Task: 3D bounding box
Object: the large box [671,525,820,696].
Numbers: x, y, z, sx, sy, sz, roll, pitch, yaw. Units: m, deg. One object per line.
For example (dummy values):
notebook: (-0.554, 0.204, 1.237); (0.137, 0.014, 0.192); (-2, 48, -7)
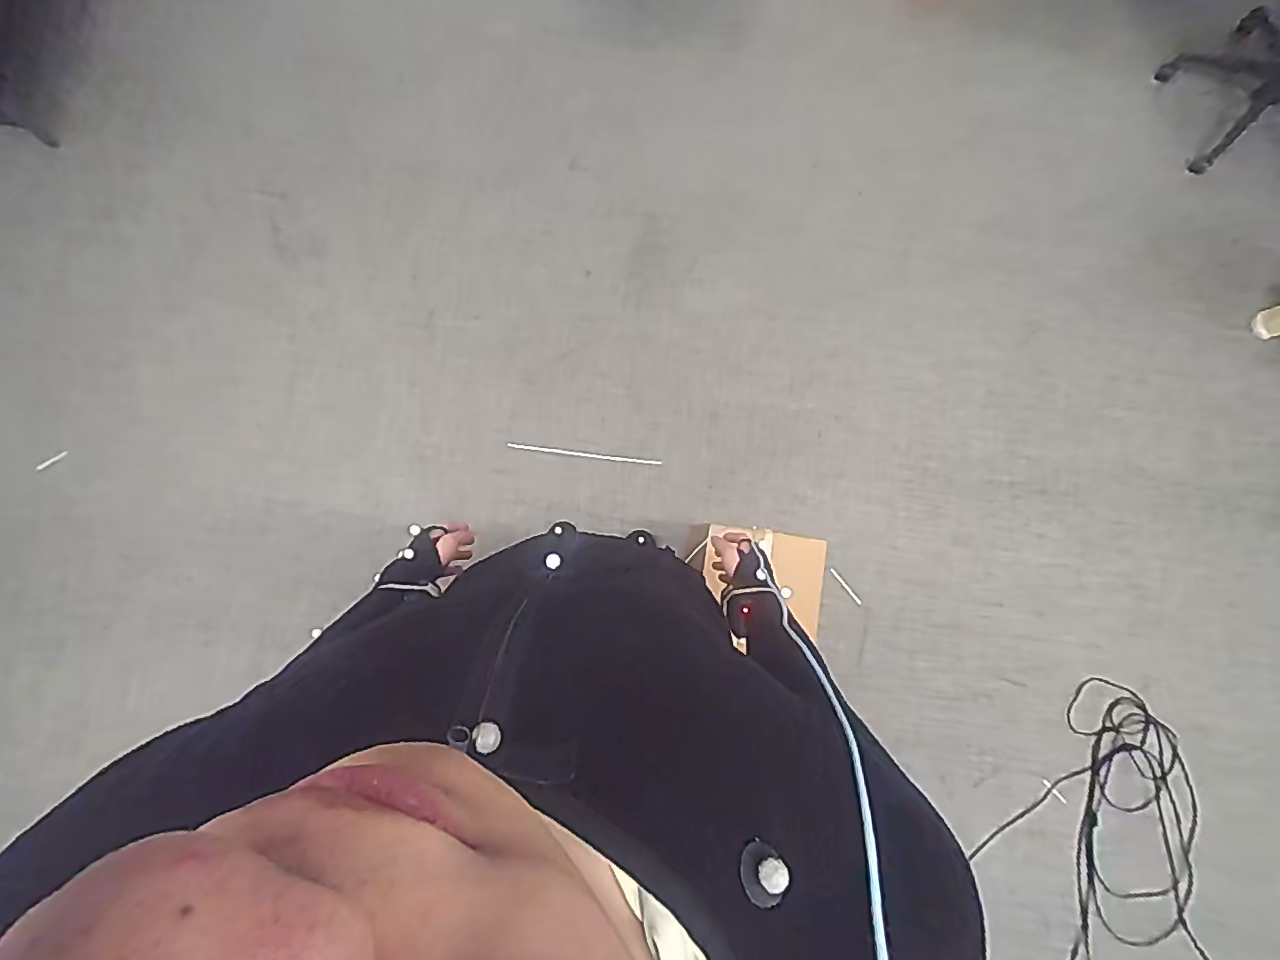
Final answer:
large box: (0.280, 0.342, 1.520); (0.320, 0.320, 0.408); (9, 85, -4)
